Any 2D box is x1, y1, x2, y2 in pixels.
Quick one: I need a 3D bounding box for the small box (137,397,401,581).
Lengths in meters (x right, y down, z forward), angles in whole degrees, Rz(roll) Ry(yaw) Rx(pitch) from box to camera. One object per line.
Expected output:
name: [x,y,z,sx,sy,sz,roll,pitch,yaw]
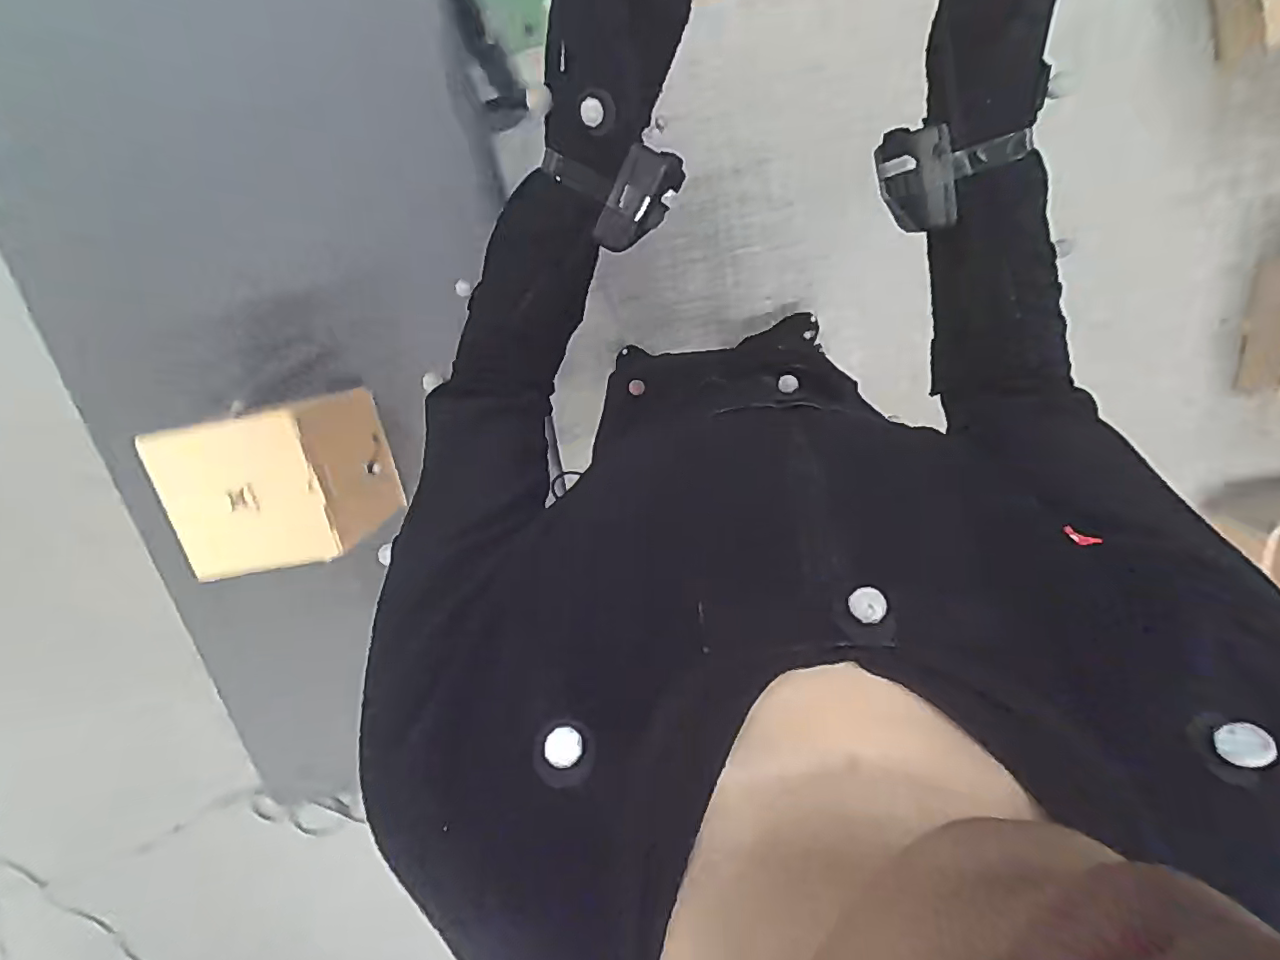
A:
small box: [-0.429,0.002,0.659,0.179,0.176,0.168,-11,106,4]
